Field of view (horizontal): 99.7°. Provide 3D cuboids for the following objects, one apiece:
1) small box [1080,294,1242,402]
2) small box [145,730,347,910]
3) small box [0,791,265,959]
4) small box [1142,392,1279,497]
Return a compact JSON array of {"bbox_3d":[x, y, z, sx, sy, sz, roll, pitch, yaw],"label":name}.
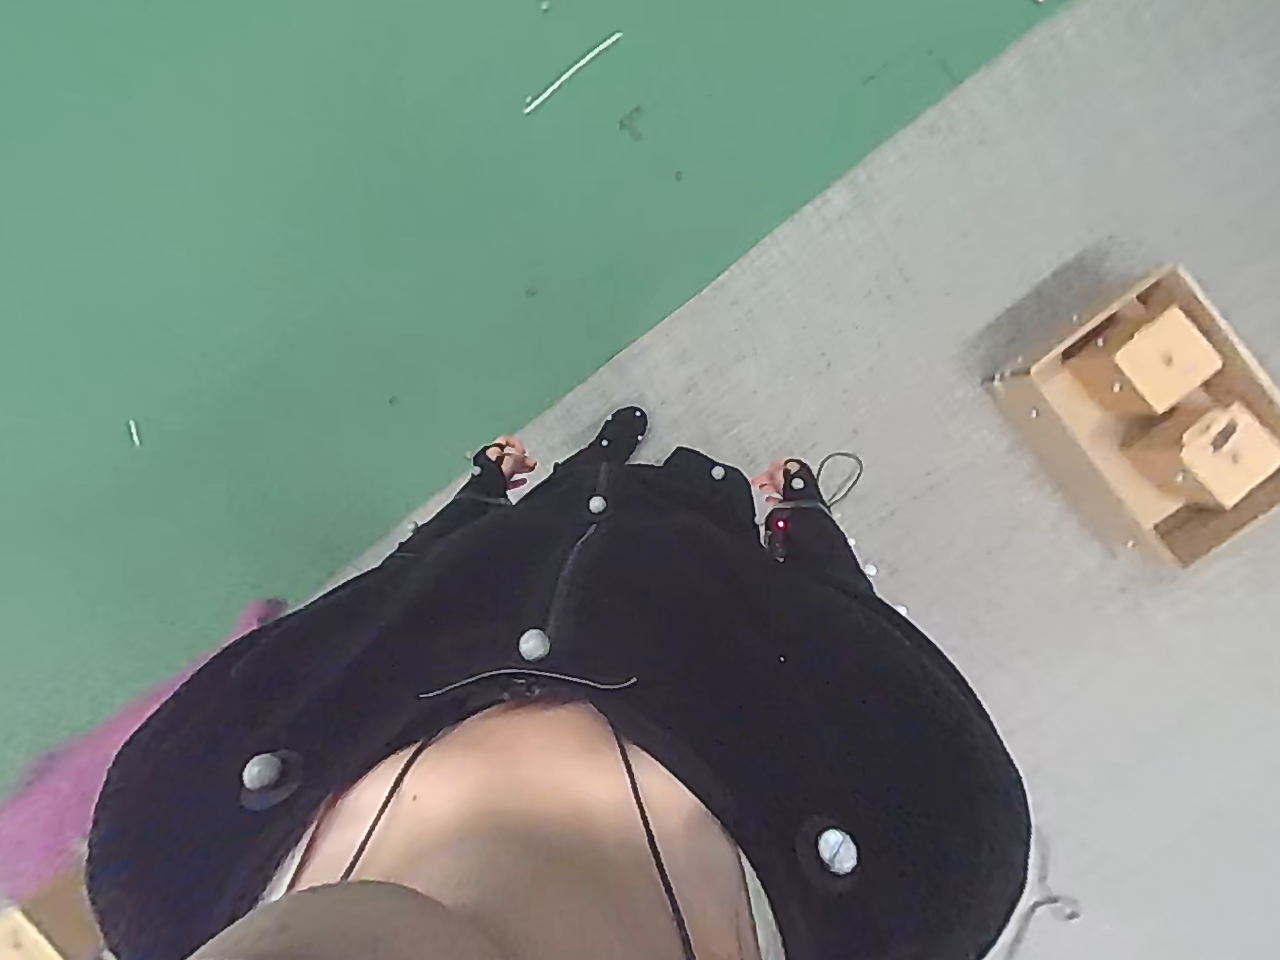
[{"bbox_3d":[1.190,-0.294,1.254,0.168,0.176,0.179,-42,92,9],"label":"small box"},{"bbox_3d":[-0.586,0.505,0.798,0.168,0.176,0.179,-38,93,6],"label":"small box"},{"bbox_3d":[-0.602,0.521,0.635,0.179,0.176,0.168,-37,93,7],"label":"small box"},{"bbox_3d":[1.352,-0.083,1.262,0.179,0.176,0.168,44,98,0],"label":"small box"}]
